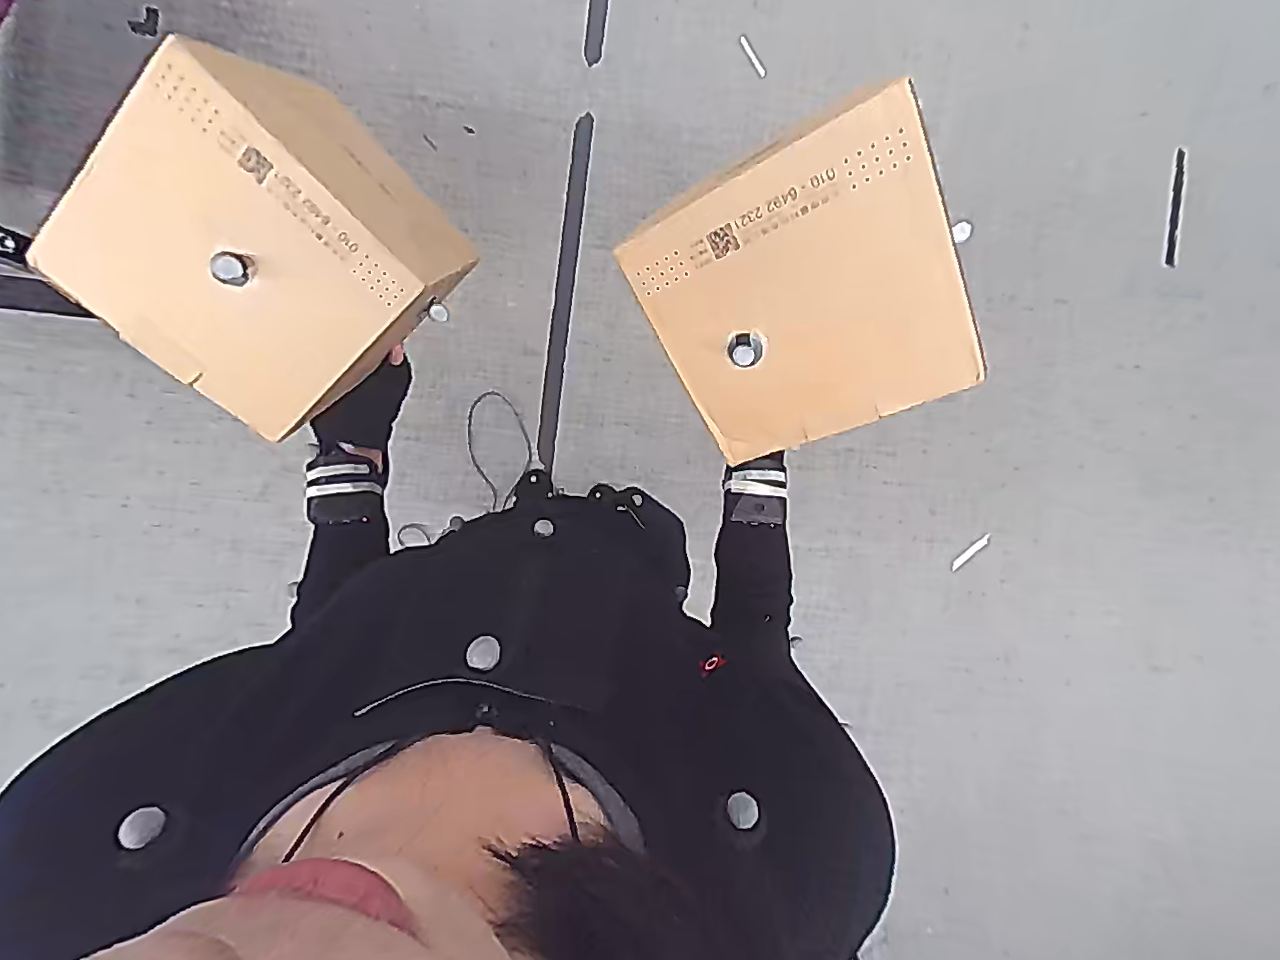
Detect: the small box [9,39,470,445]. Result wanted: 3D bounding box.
[{"bbox_3d":[-0.251,-0.162,0.388,0.176,0.179,0.168,-40,114,15],"label":"small box"}]
